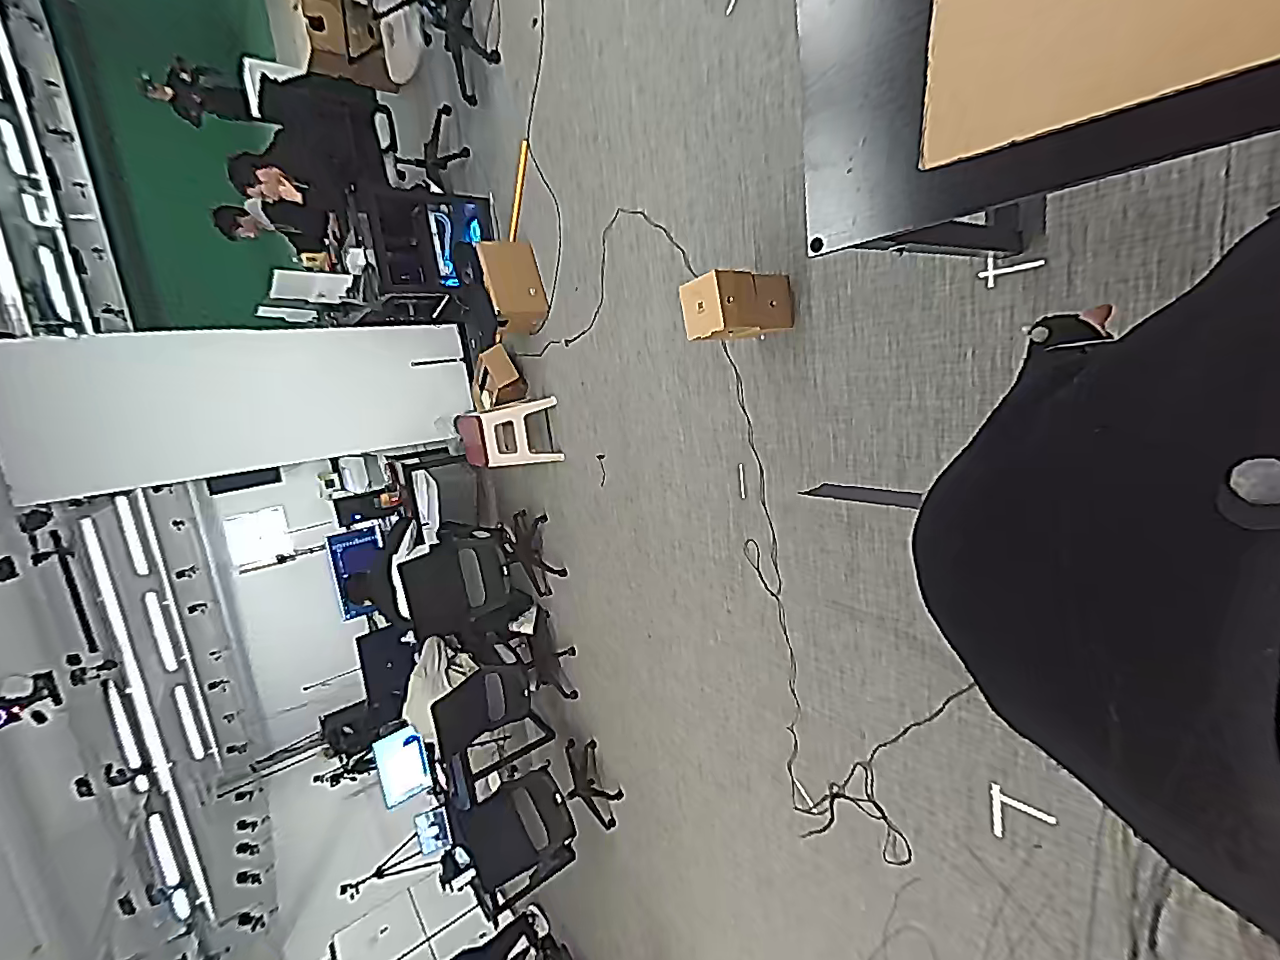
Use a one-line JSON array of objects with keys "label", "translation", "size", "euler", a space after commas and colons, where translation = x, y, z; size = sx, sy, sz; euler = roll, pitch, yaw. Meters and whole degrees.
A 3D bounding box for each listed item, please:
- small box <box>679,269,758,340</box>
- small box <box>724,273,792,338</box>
[{"label": "small box", "translation": [0.251, -0.547, 1.695], "size": [0.168, 0.176, 0.179], "euler": [-3, 98, 53]}, {"label": "small box", "translation": [0.381, -0.574, 1.788], "size": [0.168, 0.176, 0.179], "euler": [2, 104, 54]}]
